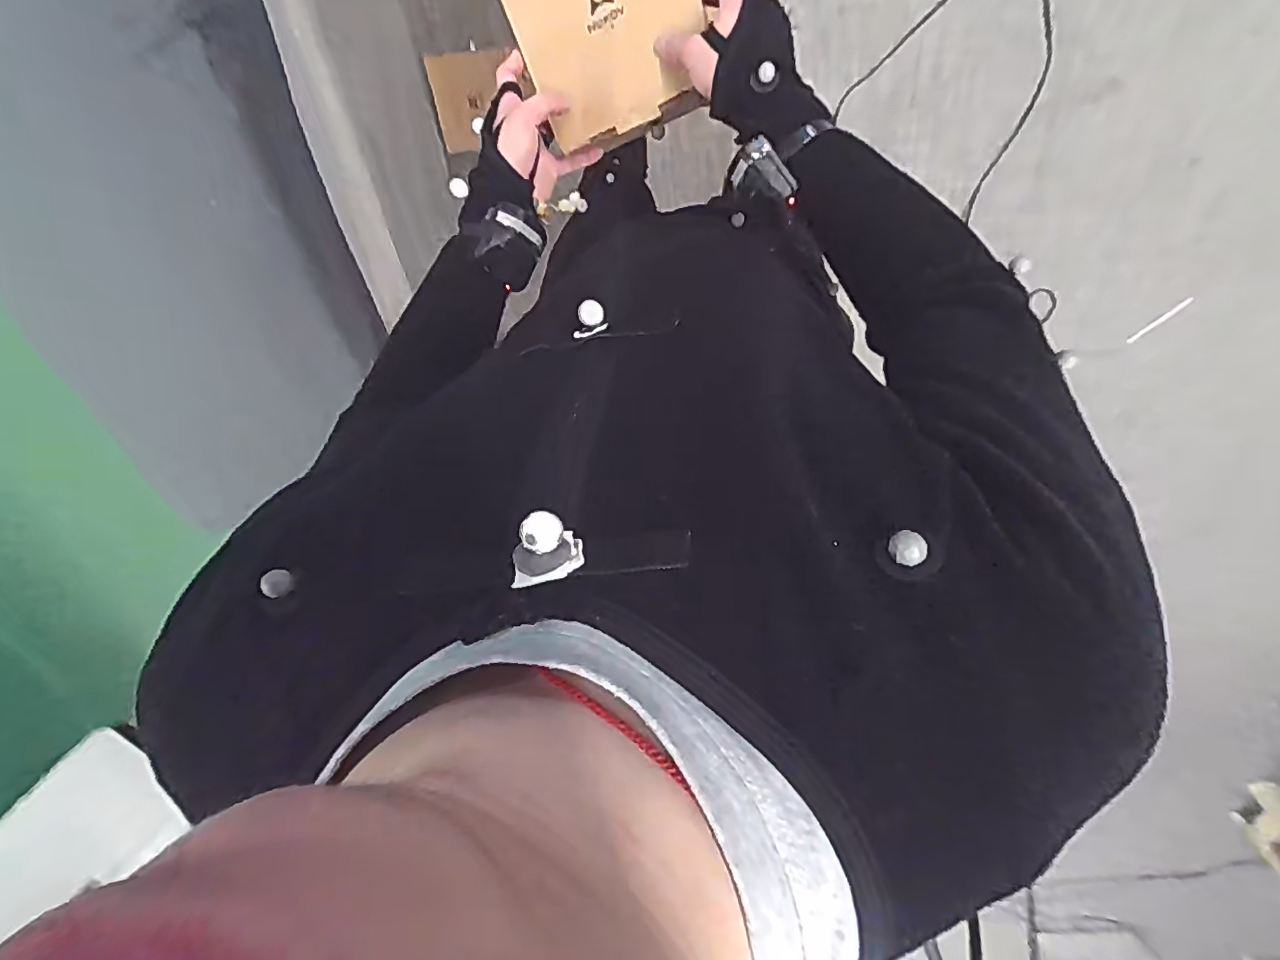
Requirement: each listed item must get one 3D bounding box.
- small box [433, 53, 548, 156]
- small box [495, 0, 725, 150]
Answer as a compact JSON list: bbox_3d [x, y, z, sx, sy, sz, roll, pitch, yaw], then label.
[{"bbox_3d":[-0.309,-0.816,1.175,0.179,0.176,0.168,2,126,13],"label":"small box"},{"bbox_3d":[-0.022,-0.451,0.527,0.168,0.176,0.179,-12,118,22],"label":"small box"}]
